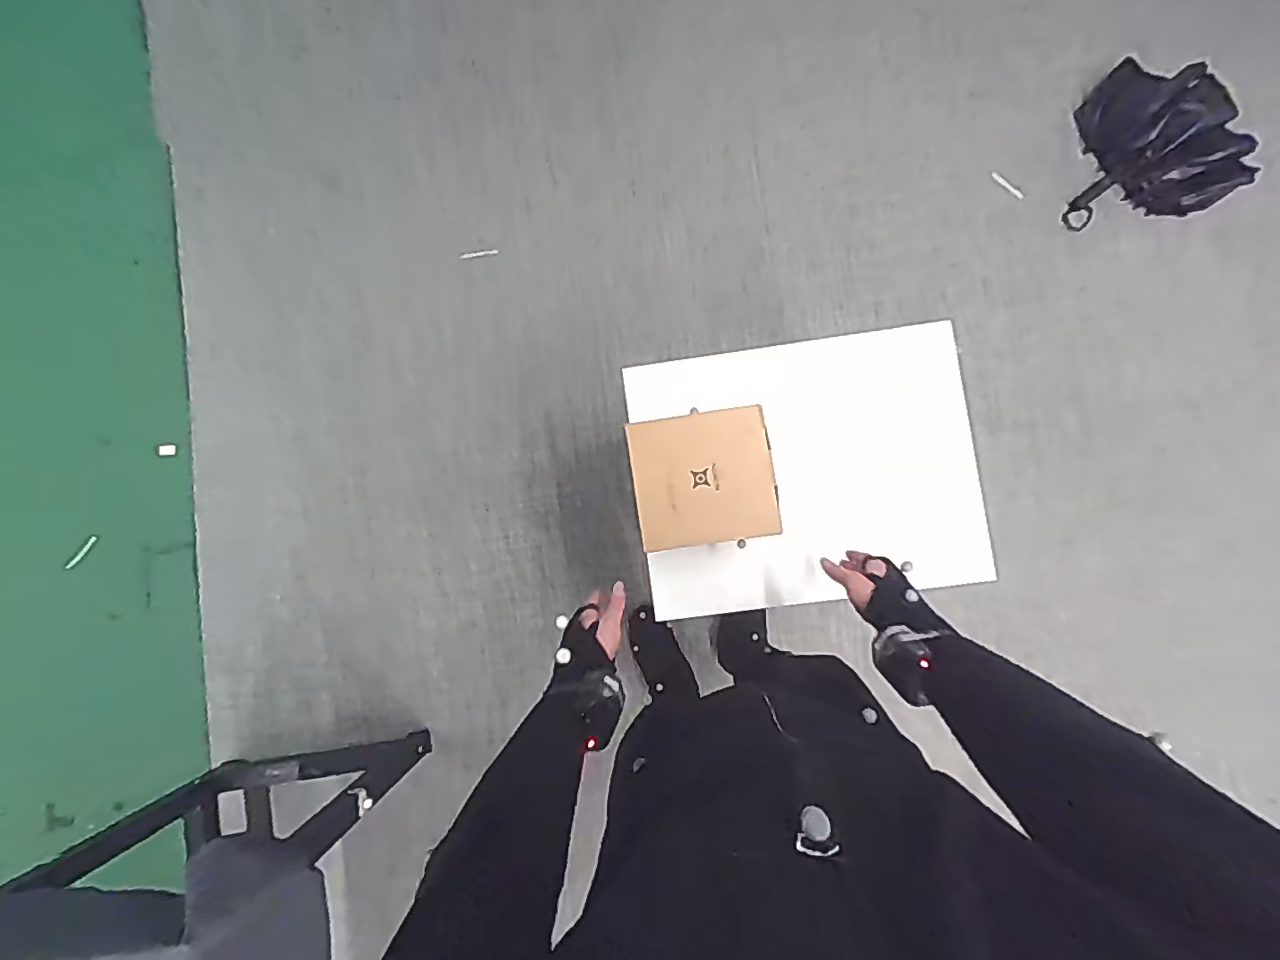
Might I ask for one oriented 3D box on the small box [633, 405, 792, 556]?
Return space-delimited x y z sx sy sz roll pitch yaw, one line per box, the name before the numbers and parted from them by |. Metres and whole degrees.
small box | 0.088 0.007 0.734 0.179 0.176 0.168 -9 83 0
